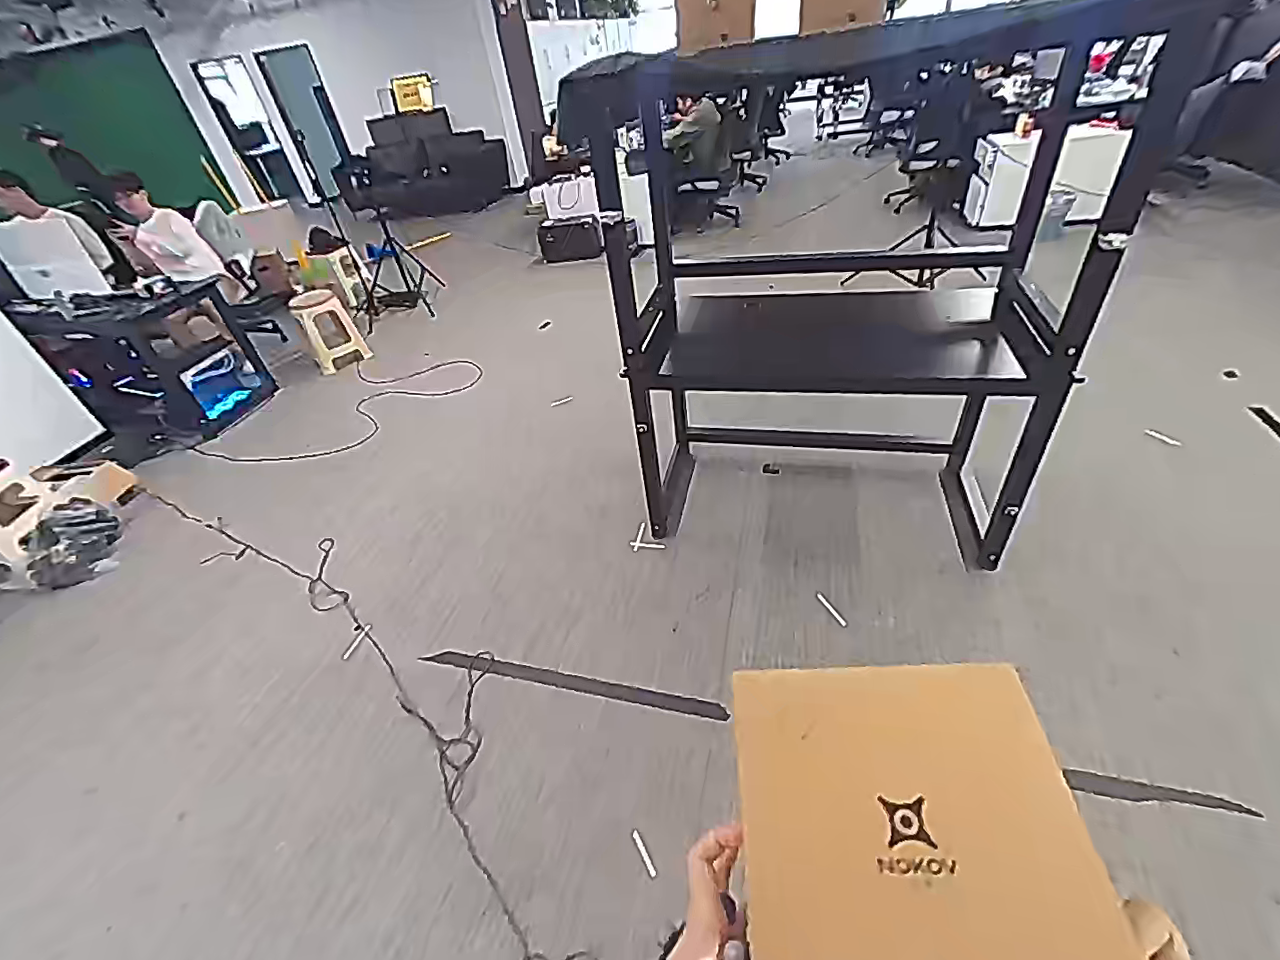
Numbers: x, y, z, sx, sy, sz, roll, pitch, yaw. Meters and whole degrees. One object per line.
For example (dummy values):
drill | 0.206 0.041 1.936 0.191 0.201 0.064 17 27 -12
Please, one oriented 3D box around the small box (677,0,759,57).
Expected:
small box | 0.171 -1.035 1.172 0.168 0.176 0.179 2 39 12

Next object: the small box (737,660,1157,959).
small box | 0.147 0.228 0.320 0.168 0.176 0.179 -6 44 10
